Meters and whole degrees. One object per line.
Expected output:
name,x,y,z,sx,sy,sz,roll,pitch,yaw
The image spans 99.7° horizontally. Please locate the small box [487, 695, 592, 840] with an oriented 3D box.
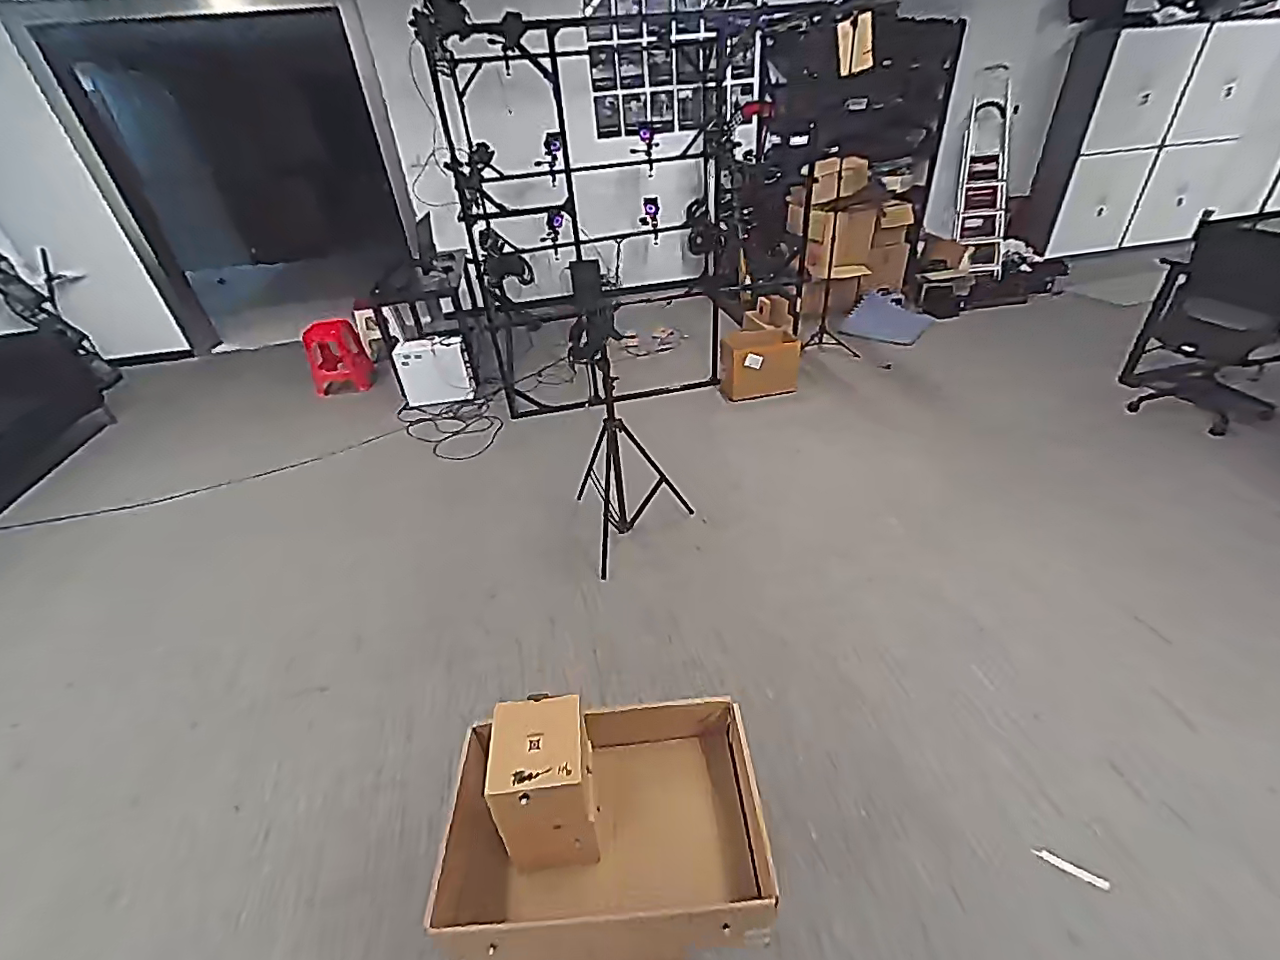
small box,-0.182,0.540,1.023,0.168,0.176,0.179,-6,34,-3
